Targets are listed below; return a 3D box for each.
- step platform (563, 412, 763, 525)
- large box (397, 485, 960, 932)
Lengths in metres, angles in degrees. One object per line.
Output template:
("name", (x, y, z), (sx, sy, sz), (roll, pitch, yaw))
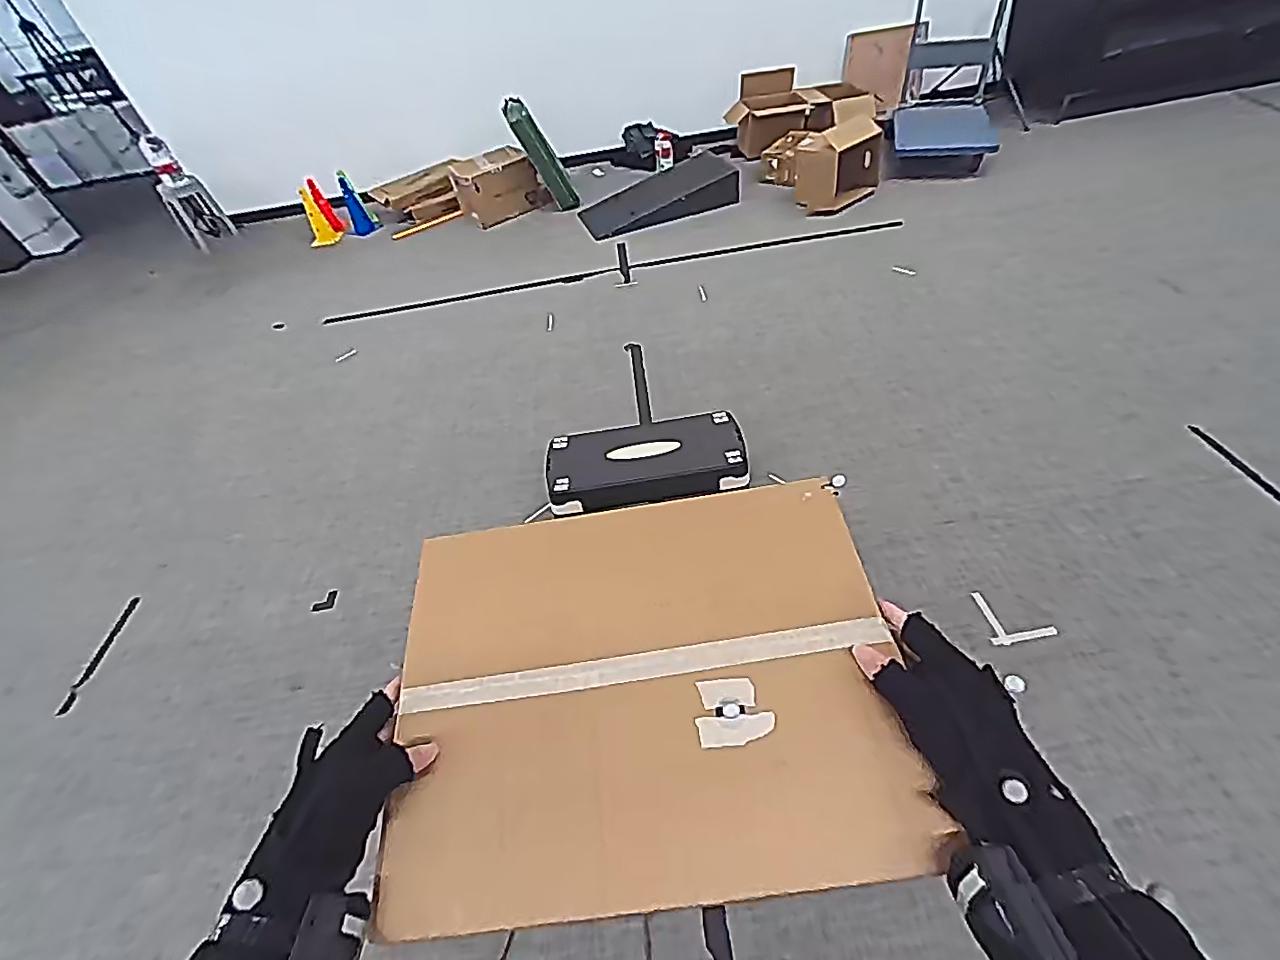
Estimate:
("step platform", (0.075, -0.036, 1.882), (0.684, 0.204, 0.286), (-9, 47, 1))
("large box", (0.024, 0.245, 0.577), (0.408, 0.320, 0.320), (-9, 54, 2))
